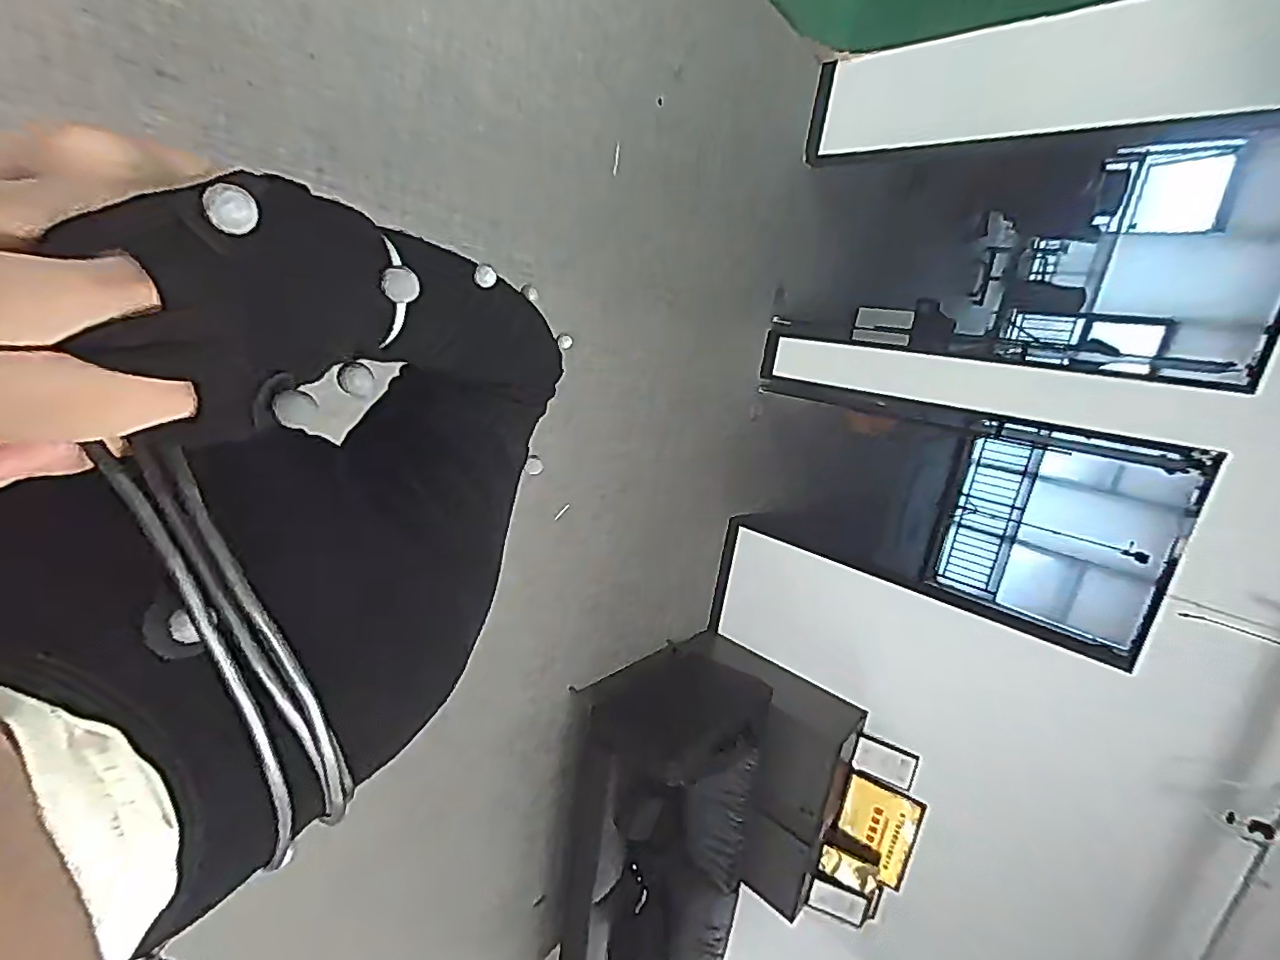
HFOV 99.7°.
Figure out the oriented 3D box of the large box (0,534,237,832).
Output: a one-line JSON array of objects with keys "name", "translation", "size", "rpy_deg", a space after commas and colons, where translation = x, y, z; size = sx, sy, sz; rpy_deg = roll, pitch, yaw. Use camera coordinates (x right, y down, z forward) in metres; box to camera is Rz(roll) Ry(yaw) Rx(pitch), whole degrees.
[{"name": "large box", "translation": [-1.043, 0.355, 1.066], "size": [0.320, 0.320, 0.408], "rpy_deg": [1, 106, -51]}]
